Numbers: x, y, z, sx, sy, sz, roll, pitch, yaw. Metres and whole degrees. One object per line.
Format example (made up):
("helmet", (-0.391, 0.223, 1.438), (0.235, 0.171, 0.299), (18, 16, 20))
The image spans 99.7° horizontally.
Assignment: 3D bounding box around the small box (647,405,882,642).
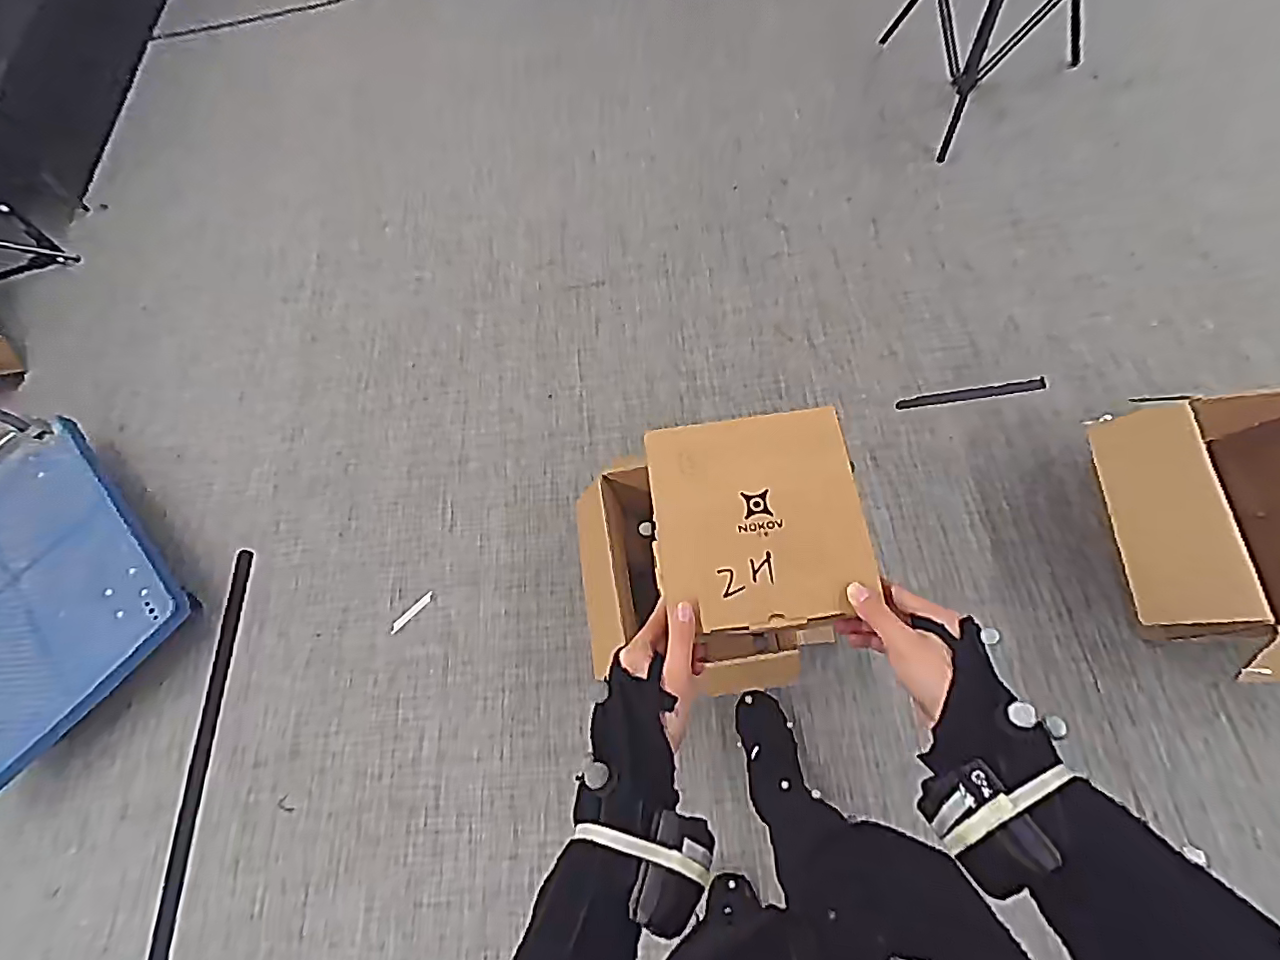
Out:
("small box", (0.099, 0.052, 0.513), (0.168, 0.176, 0.179), (-8, 71, 2))
